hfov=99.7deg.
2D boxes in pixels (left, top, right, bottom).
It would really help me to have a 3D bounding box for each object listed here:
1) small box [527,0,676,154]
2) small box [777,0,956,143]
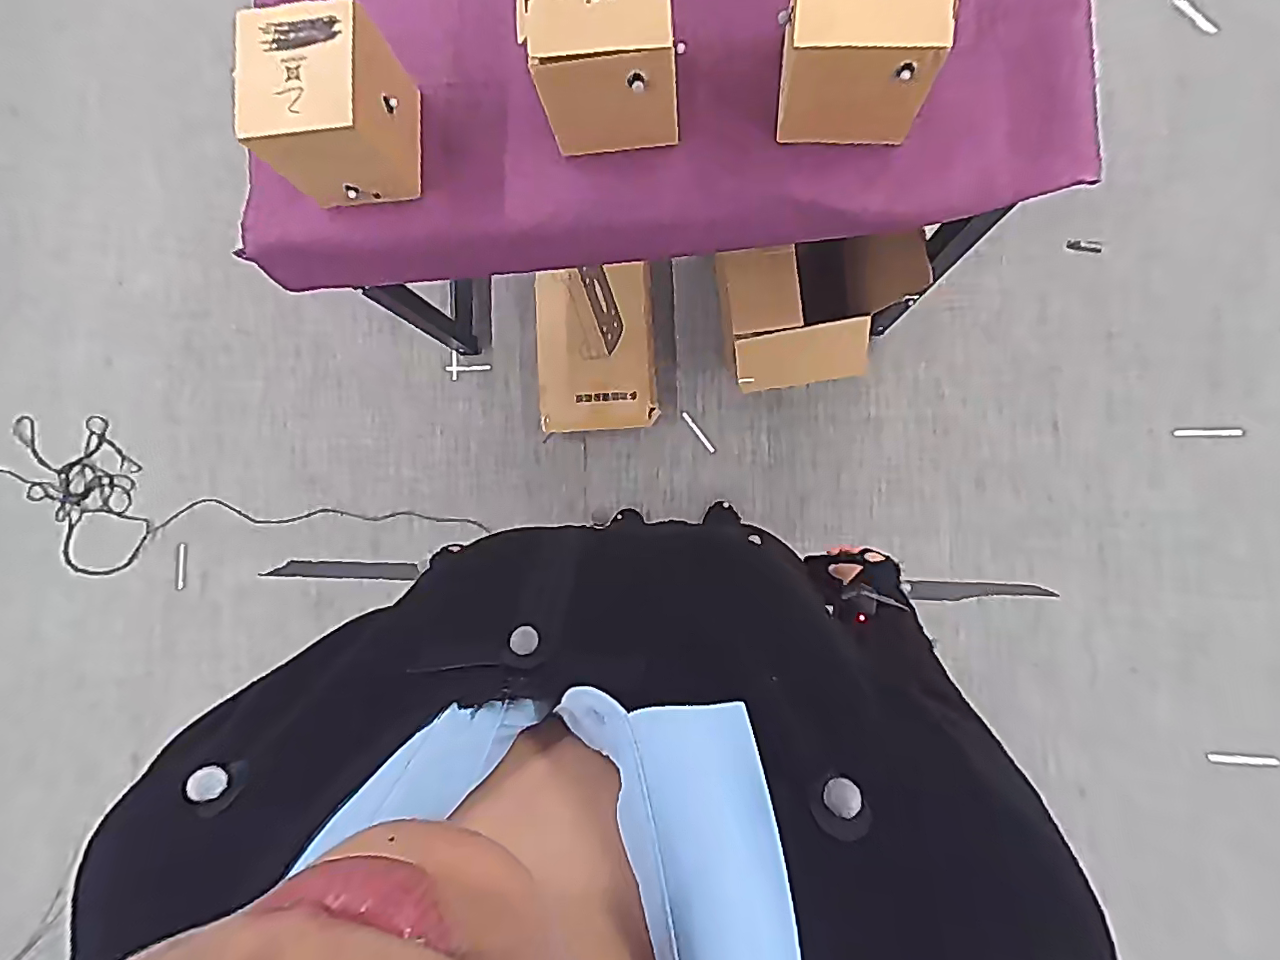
[{"bbox_3d":[-0.042,-0.572,0.721,0.179,0.176,0.168,-2,85,6],"label":"small box"},{"bbox_3d":[0.275,-0.560,0.686,0.179,0.176,0.168,5,88,6],"label":"small box"}]
